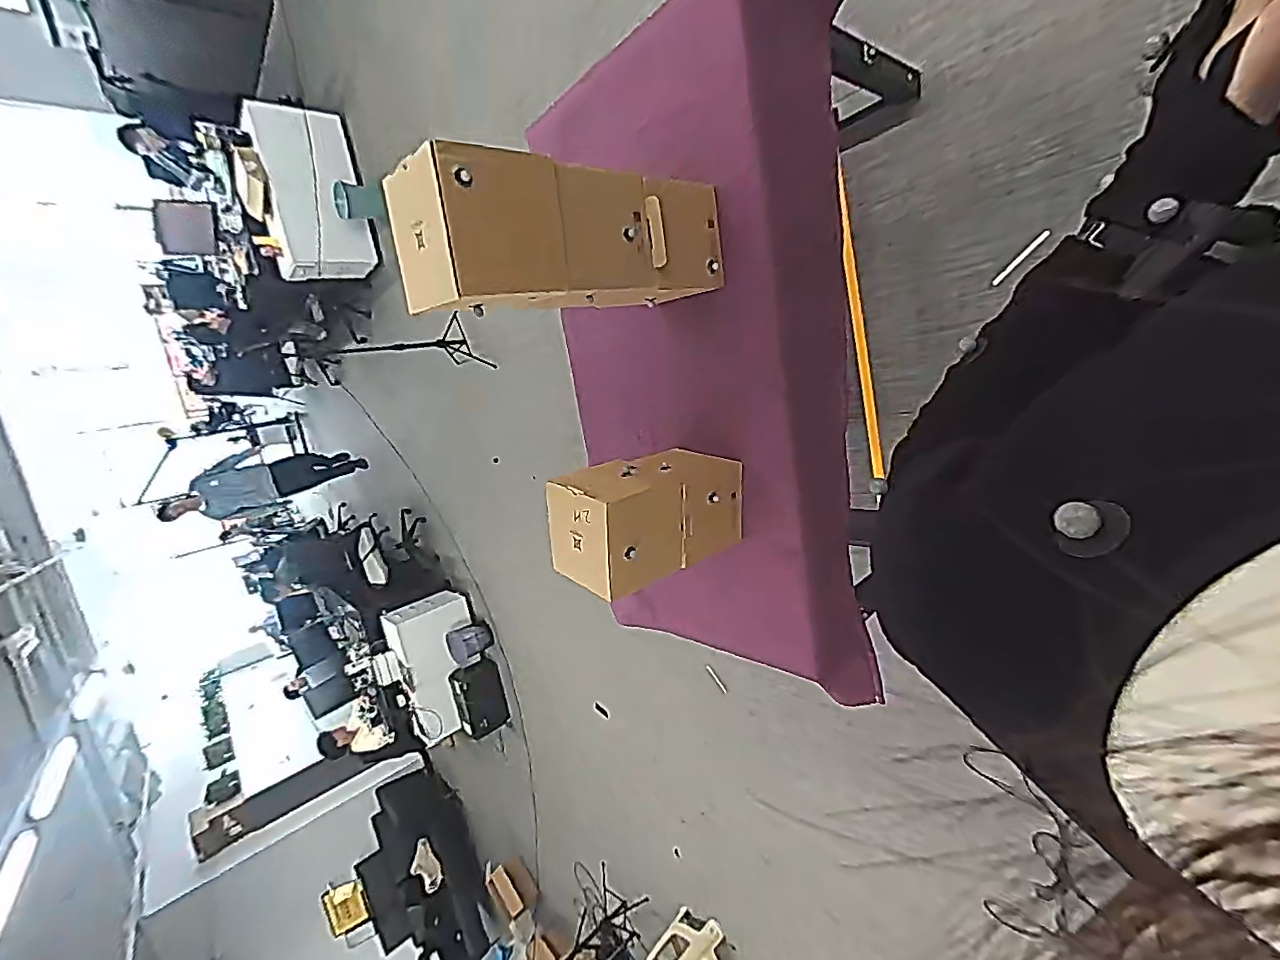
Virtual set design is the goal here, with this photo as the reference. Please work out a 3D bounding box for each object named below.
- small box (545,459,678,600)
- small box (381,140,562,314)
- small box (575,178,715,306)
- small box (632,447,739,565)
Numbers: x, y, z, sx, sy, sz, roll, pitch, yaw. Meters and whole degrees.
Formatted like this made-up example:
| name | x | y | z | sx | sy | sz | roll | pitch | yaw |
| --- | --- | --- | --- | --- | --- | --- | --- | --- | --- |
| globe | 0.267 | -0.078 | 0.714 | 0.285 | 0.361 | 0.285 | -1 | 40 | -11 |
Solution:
| name | x | y | z | sx | sy | sz | roll | pitch | yaw |
| --- | --- | --- | --- | --- | --- | --- | --- | --- | --- |
| small box | -0.046 | 0.076 | 0.950 | 0.168 | 0.176 | 0.179 | 18 | 117 | 44 |
| small box | -0.222 | -0.328 | 0.732 | 0.168 | 0.176 | 0.179 | 10 | 111 | 47 |
| small box | 0.016 | -0.406 | 0.941 | 0.179 | 0.176 | 0.168 | 7 | 110 | 49 |
| small box | 0.076 | 0.041 | 1.054 | 0.179 | 0.176 | 0.168 | 17 | 117 | 45 |
